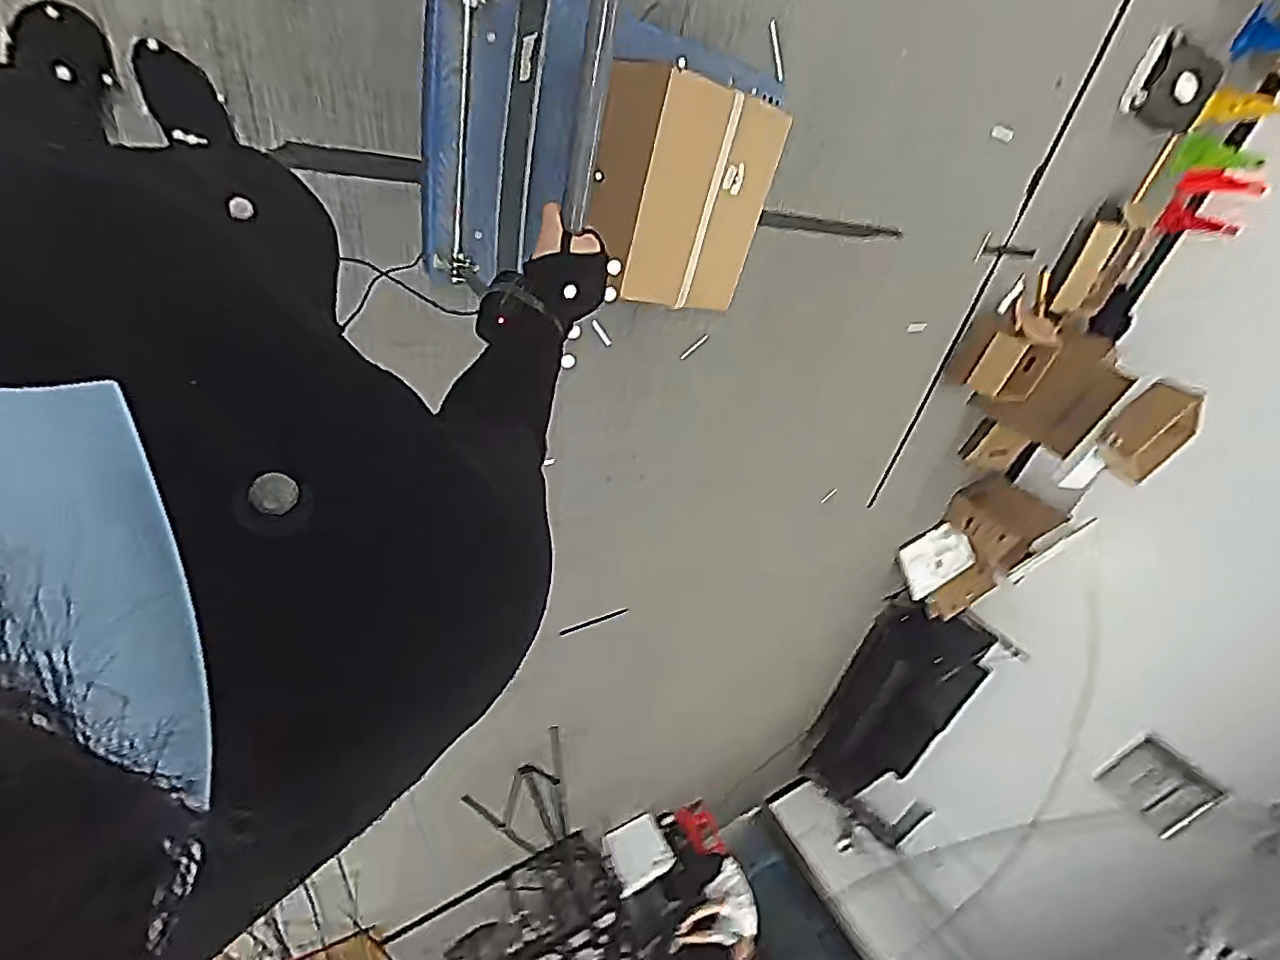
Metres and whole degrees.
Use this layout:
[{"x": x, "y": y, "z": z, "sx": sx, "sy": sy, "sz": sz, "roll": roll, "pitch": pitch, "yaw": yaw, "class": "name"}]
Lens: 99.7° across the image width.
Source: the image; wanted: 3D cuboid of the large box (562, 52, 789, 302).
[{"x": 0.051, "y": -0.646, "z": 1.190, "sx": 0.320, "sy": 0.320, "sz": 0.408, "roll": -7, "pitch": 127, "yaw": -35, "class": "large box"}]
